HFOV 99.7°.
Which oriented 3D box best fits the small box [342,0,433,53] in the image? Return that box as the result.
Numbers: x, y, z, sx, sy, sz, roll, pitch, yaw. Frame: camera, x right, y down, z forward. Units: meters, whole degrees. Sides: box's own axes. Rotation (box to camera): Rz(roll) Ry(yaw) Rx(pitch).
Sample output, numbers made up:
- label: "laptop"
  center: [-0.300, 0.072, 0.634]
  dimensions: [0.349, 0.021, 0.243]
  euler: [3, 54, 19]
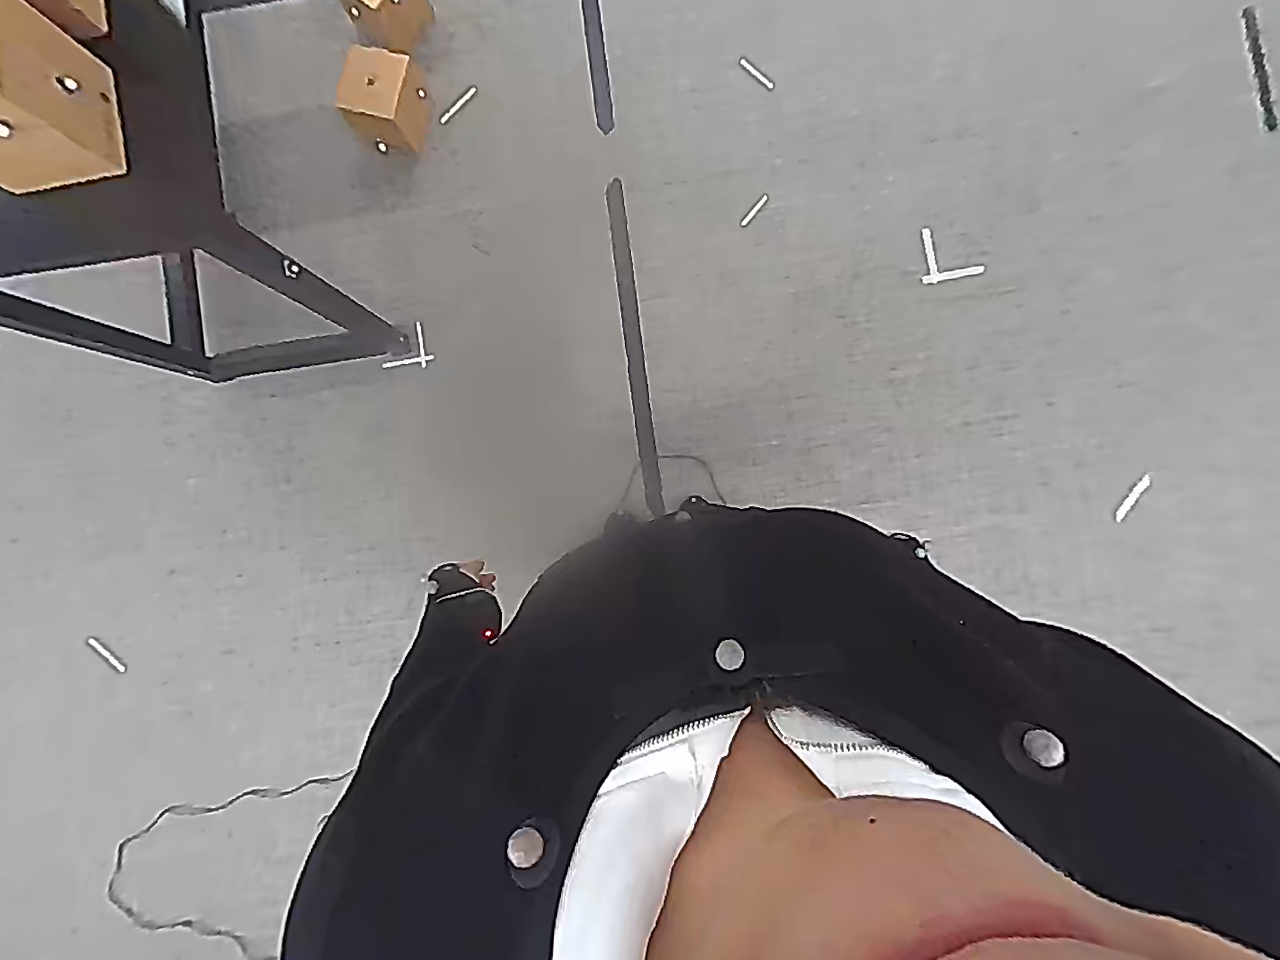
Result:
- label: "small box"
  center: [-0.708, -1.334, 1.479]
  dimensions: [0.179, 0.176, 0.168]
  euler: [35, 90, 2]

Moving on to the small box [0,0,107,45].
- label: "small box"
  center: [-0.904, -0.748, 0.744]
  dimensions: [0.179, 0.176, 0.168]
  euler: [-8, 89, 1]

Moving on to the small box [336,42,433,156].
- label: "small box"
  center: [-0.688, -1.031, 1.476]
  dimensions: [0.168, 0.176, 0.179]
  euler: [13, 90, 2]
